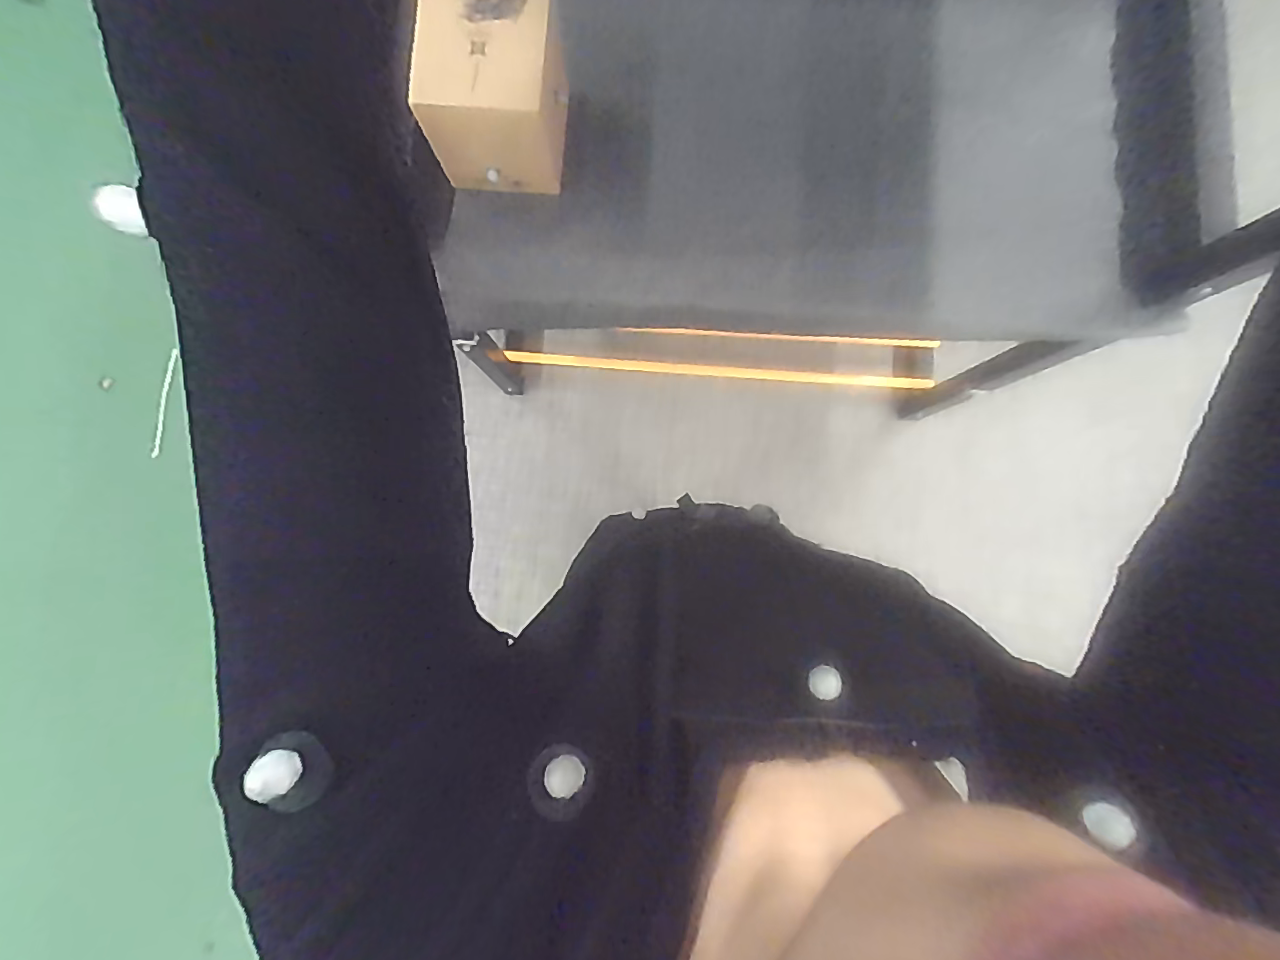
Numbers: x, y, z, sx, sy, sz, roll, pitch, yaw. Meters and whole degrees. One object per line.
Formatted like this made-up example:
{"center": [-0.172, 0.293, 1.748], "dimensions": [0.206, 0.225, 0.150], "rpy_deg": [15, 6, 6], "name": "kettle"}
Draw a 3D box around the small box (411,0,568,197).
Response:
{"center": [-0.196, -0.533, 0.755], "dimensions": [0.168, 0.176, 0.179], "rpy_deg": [4, 84, 1], "name": "small box"}
